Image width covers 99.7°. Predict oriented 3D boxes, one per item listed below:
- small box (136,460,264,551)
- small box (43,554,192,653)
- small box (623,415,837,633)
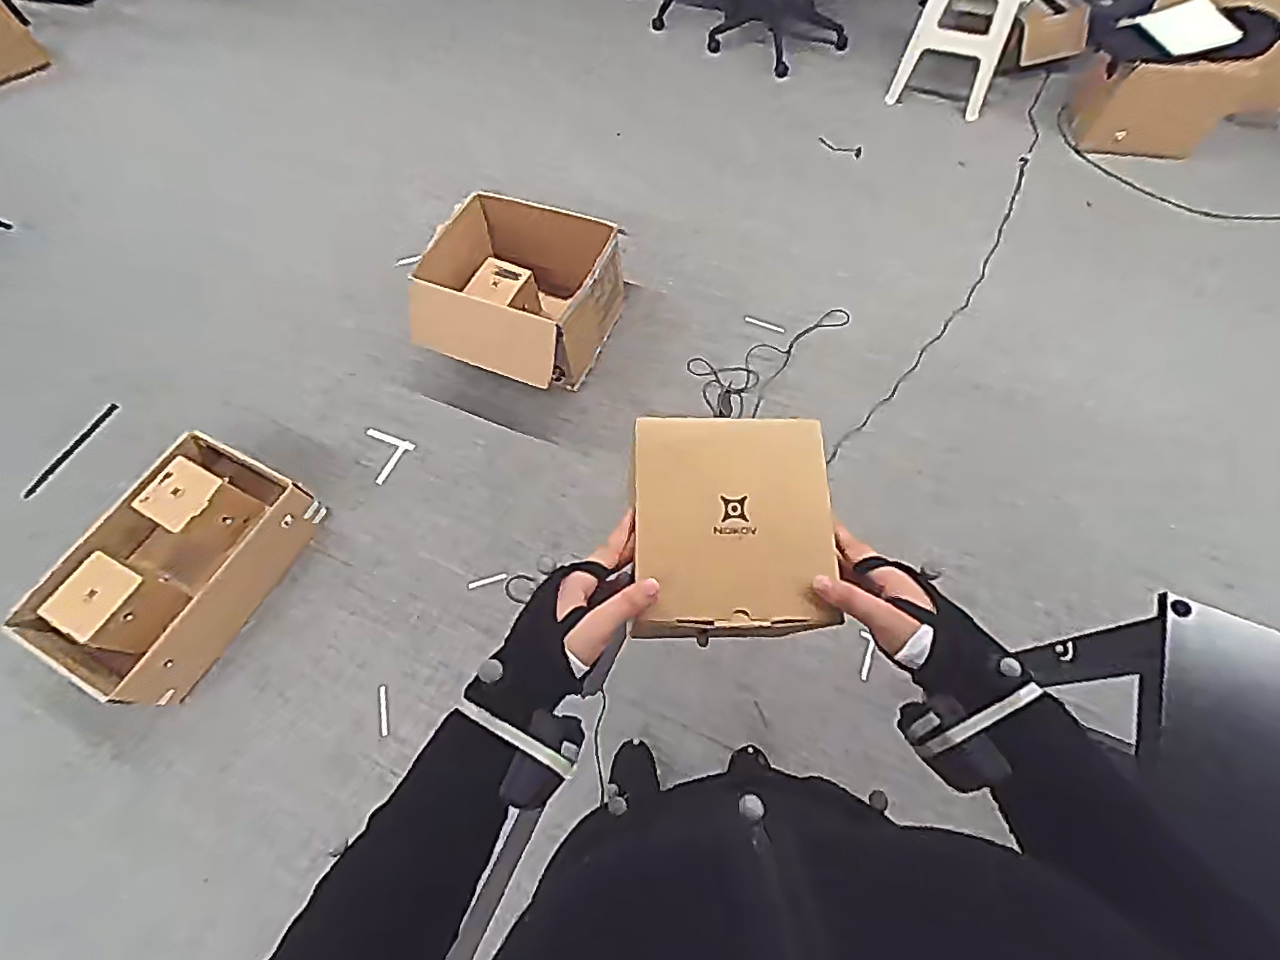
[{"bbox_3d":[-1.195,0.078,1.486,0.179,0.176,0.168,26,69,12],"label":"small box"},{"bbox_3d":[-1.310,0.320,1.373,0.168,0.176,0.179,24,66,11],"label":"small box"},{"bbox_3d":[0.069,0.053,0.523,0.168,0.176,0.179,0,72,-3],"label":"small box"}]
